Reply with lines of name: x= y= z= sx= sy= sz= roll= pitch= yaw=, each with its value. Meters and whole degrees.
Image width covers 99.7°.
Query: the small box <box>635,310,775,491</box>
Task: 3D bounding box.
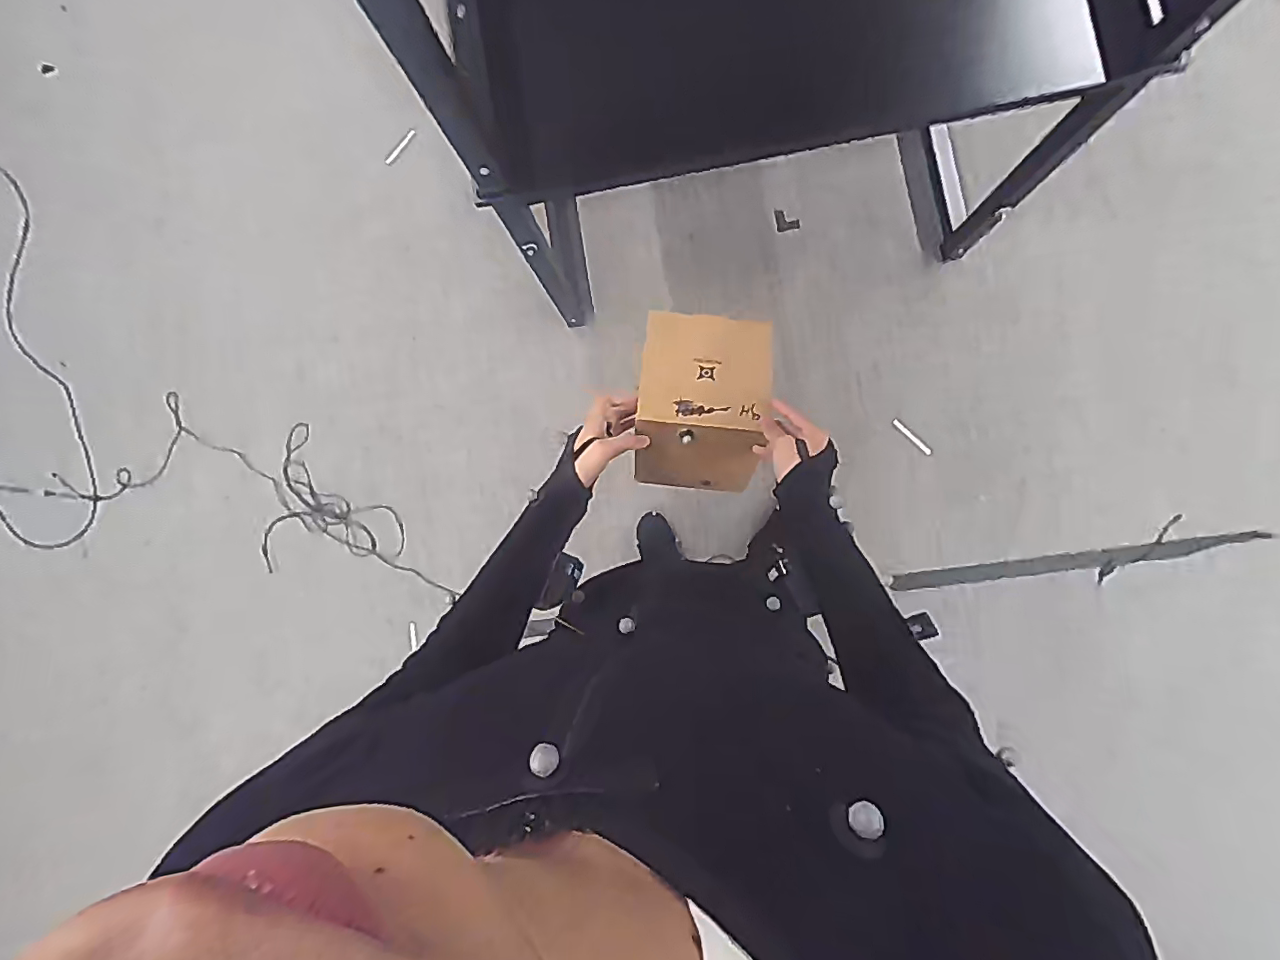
small box: x=0.084 y=-0.104 z=0.750 sx=0.168 sy=0.176 sz=0.179 roll=6 pitch=64 yaw=2
